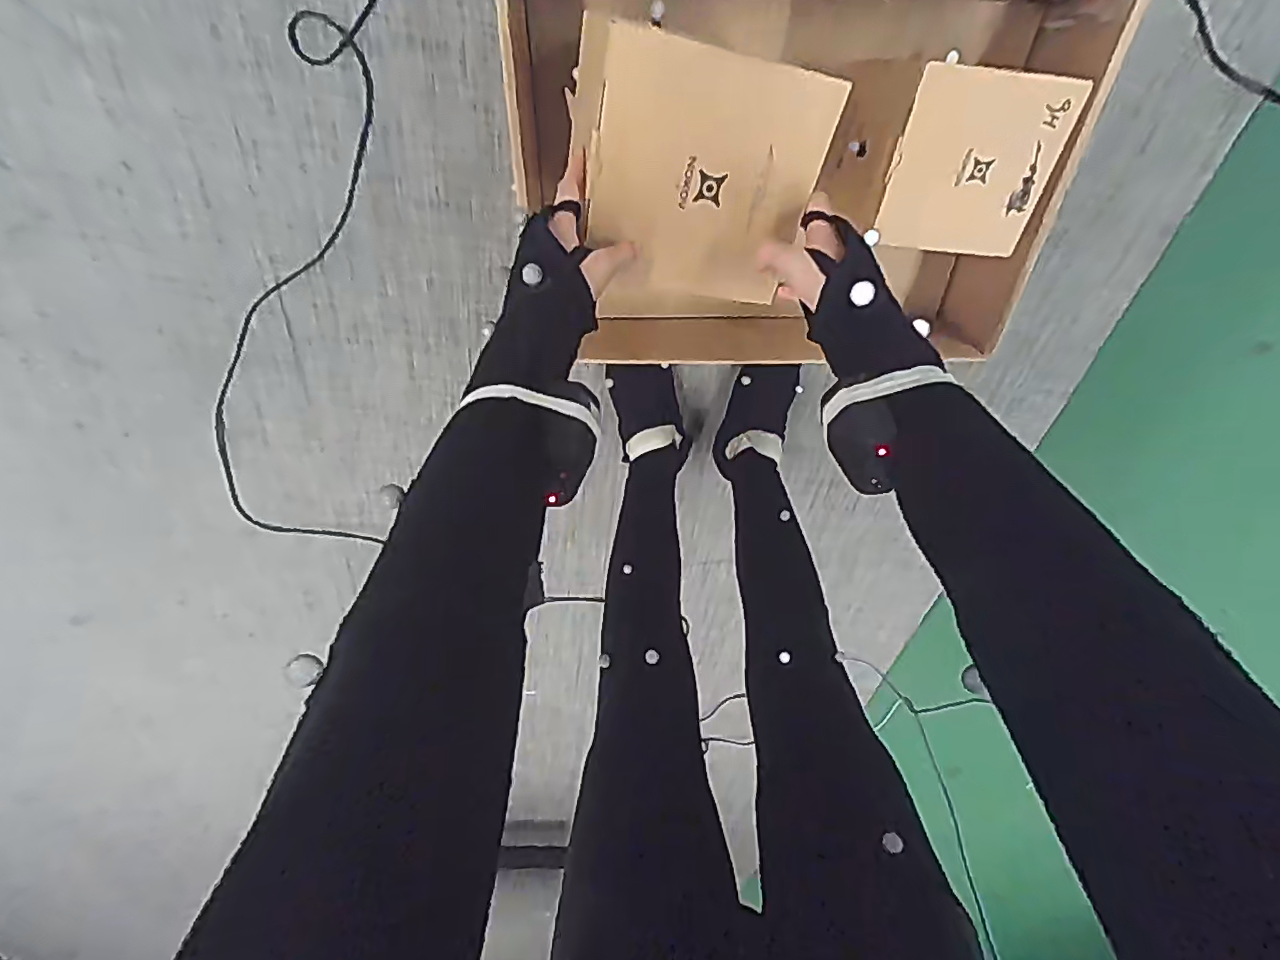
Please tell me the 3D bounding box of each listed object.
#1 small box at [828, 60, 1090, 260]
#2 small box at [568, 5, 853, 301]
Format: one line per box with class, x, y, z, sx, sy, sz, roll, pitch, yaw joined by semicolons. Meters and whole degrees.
small box;0.343;-0.371;0.629;0.179;0.176;0.168;4;127;-6
small box;0.037;-0.277;0.466;0.179;0.176;0.168;3;130;-16
